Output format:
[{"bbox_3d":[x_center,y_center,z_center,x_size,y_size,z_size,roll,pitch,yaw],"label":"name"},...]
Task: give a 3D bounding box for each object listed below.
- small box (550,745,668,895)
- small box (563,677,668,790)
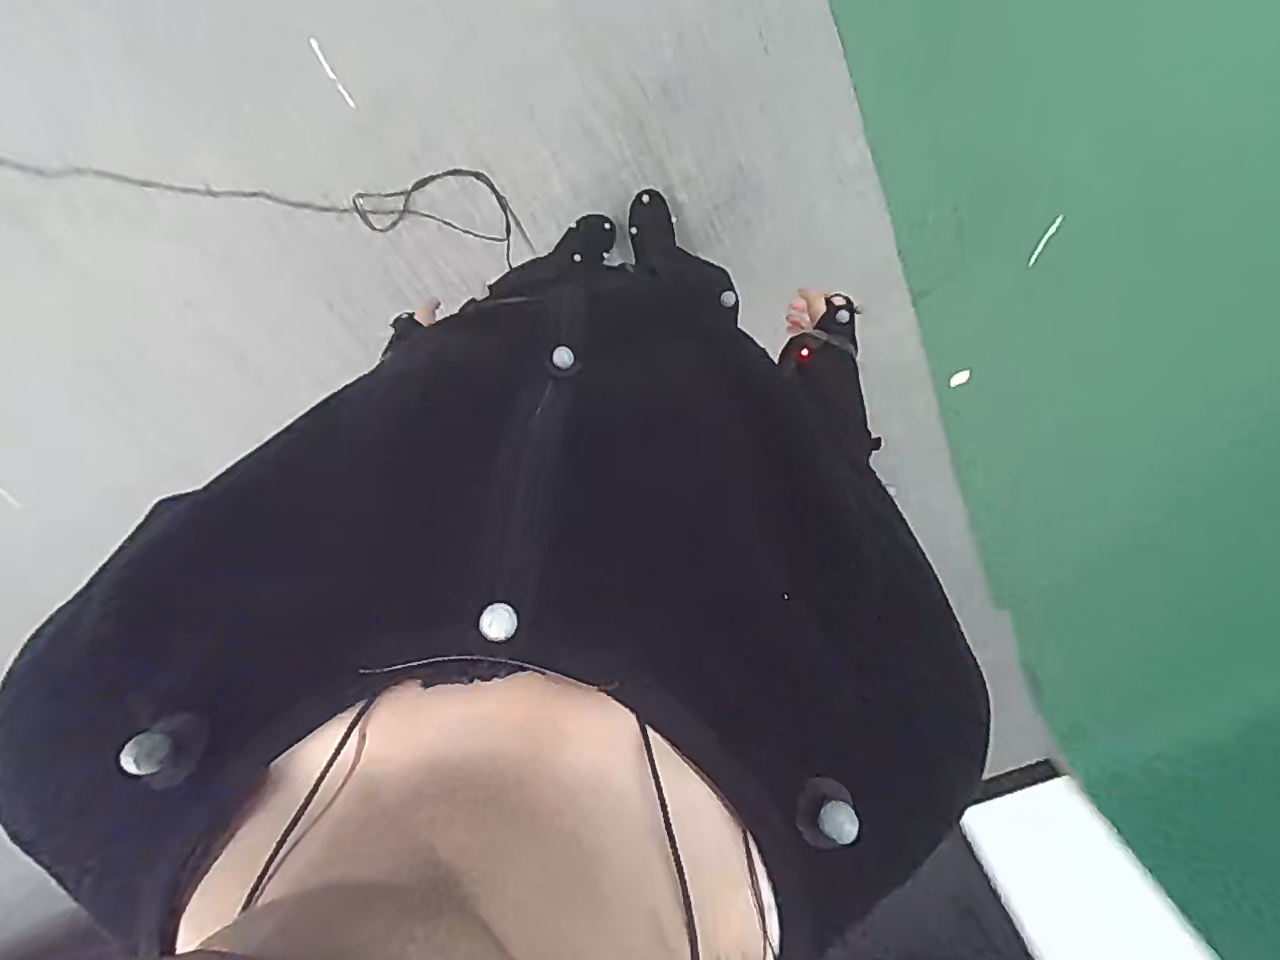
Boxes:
[{"bbox_3d":[-0.052,0.614,0.996,0.168,0.176,0.179,-15,116,7],"label":"small box"},{"bbox_3d":[-0.049,0.544,1.144,0.168,0.176,0.179,-18,115,8],"label":"small box"}]
